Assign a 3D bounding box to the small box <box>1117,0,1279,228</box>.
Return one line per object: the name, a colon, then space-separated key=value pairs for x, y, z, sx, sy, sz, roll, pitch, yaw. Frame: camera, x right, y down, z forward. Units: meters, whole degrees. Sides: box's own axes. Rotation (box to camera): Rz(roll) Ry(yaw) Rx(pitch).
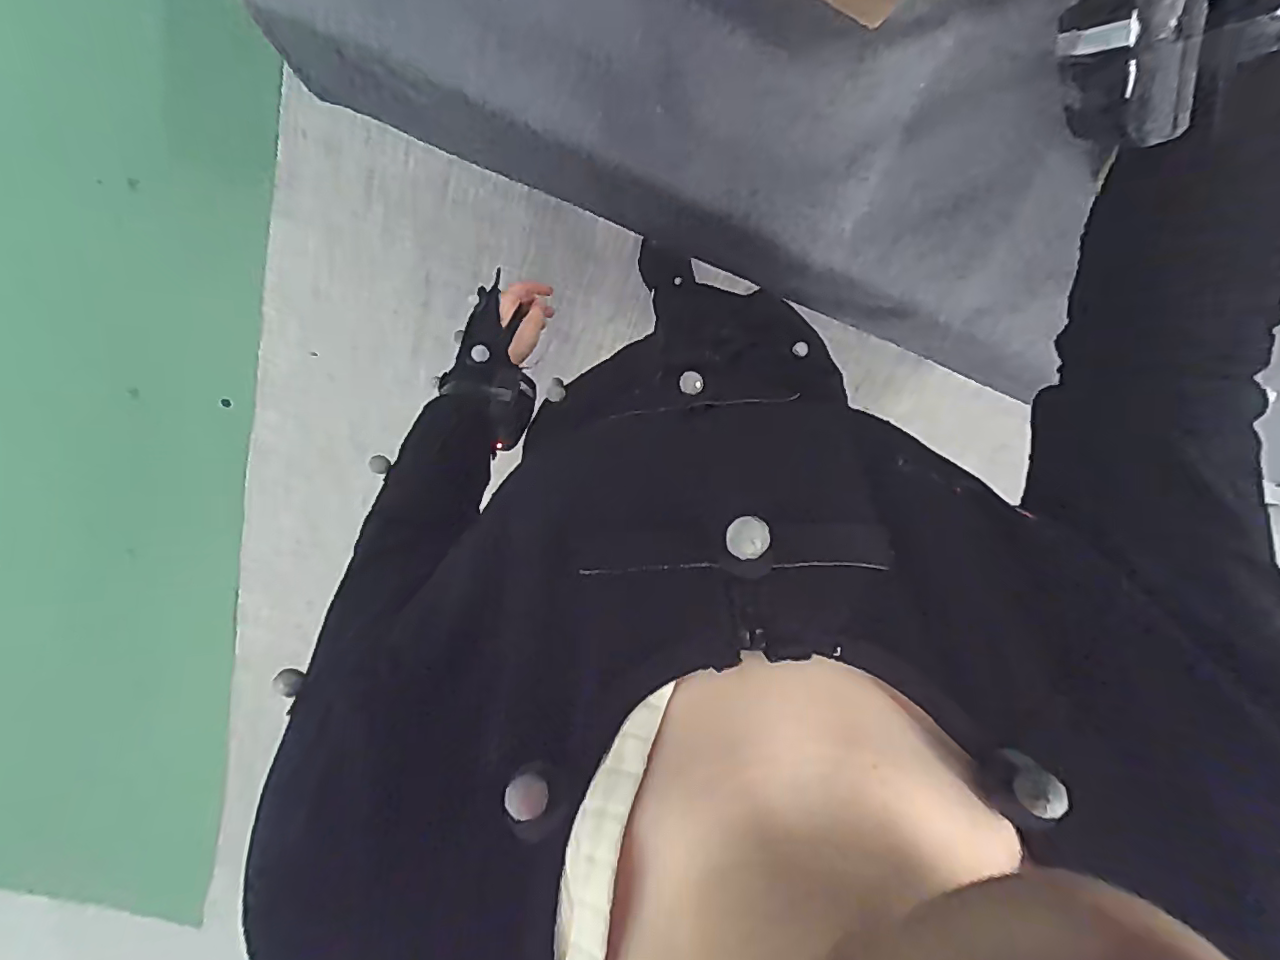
small box: x=0.527 y=-0.304 z=0.407 sx=0.168 sy=0.176 sz=0.179 roll=18 pitch=114 yaw=-8
